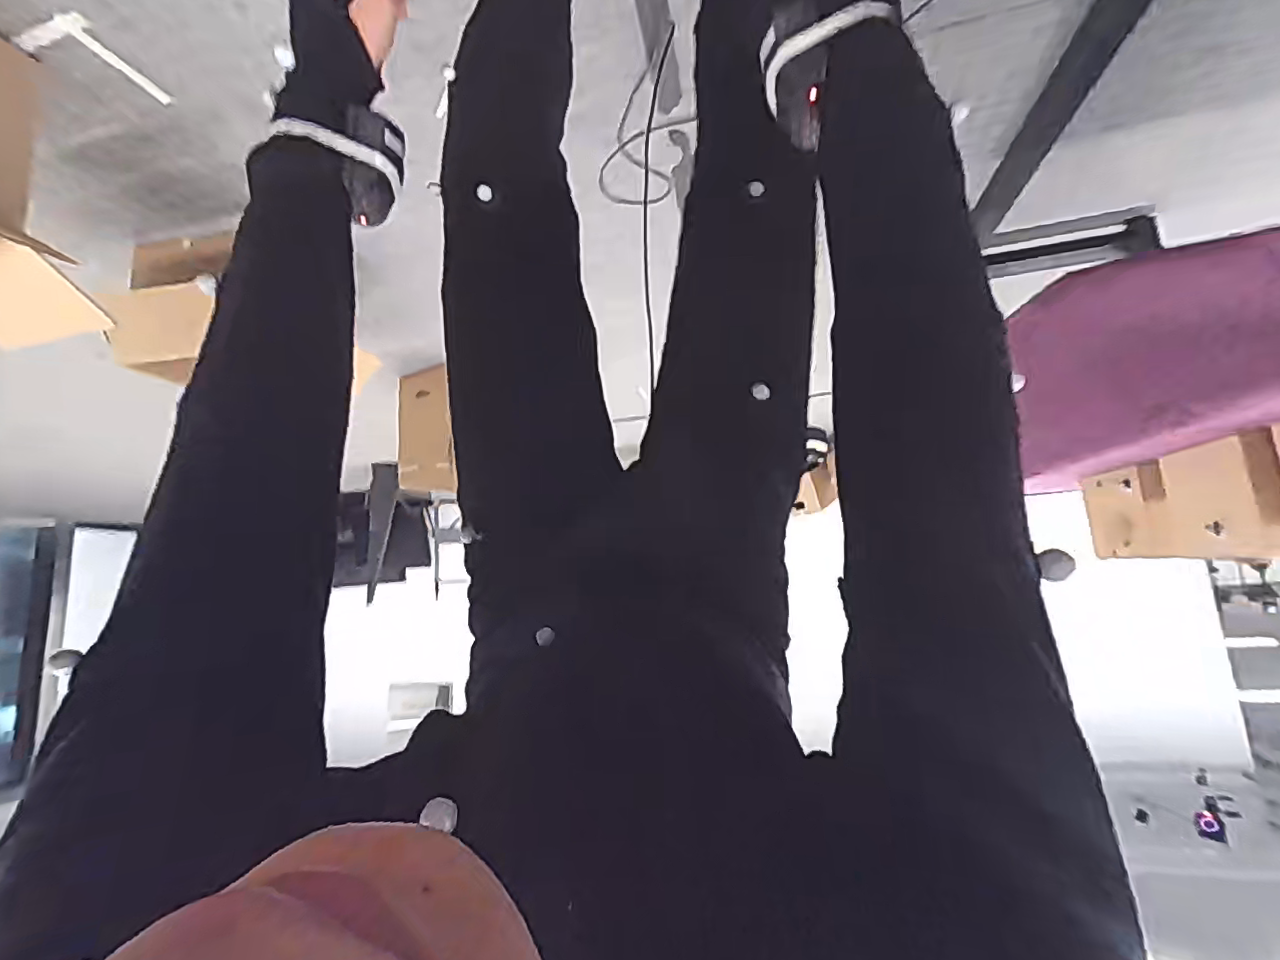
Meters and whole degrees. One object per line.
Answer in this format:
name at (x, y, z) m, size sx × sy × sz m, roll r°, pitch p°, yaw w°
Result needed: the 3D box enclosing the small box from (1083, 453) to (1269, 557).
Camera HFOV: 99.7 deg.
small box at (0.977, 0.051, 1.007) m, size 0.179 × 0.176 × 0.168 m, roll -6°, pitch 171°, yaw 10°
